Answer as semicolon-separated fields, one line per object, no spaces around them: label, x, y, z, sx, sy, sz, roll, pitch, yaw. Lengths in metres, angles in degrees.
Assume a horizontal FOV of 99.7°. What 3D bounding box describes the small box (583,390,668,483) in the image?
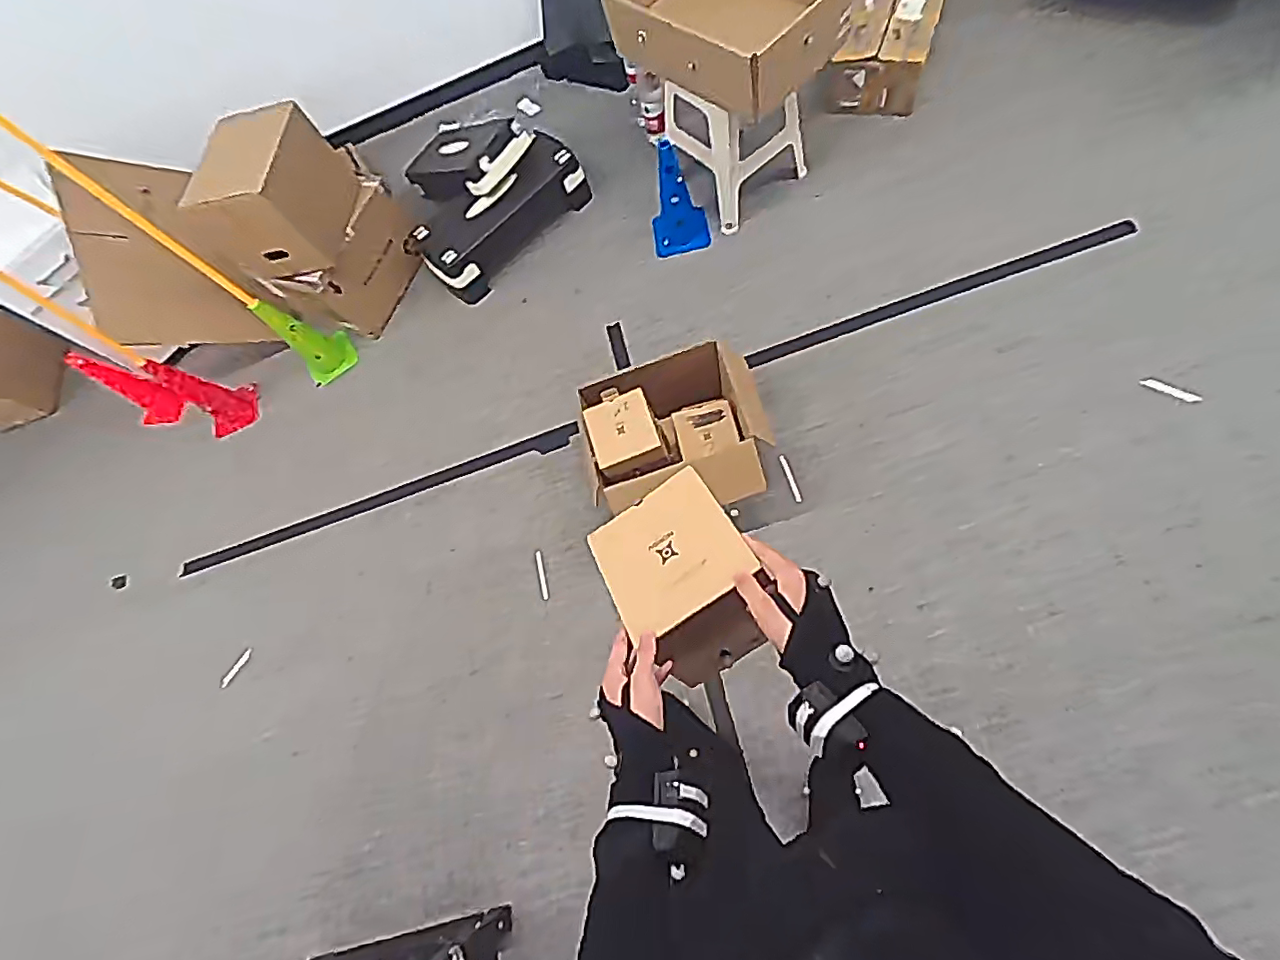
small box;-0.033;-0.104;1.437;0.168;0.176;0.179;-20;68;5

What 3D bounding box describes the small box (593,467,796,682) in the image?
small box;0.070;0.124;0.686;0.168;0.176;0.179;-35;46;5
